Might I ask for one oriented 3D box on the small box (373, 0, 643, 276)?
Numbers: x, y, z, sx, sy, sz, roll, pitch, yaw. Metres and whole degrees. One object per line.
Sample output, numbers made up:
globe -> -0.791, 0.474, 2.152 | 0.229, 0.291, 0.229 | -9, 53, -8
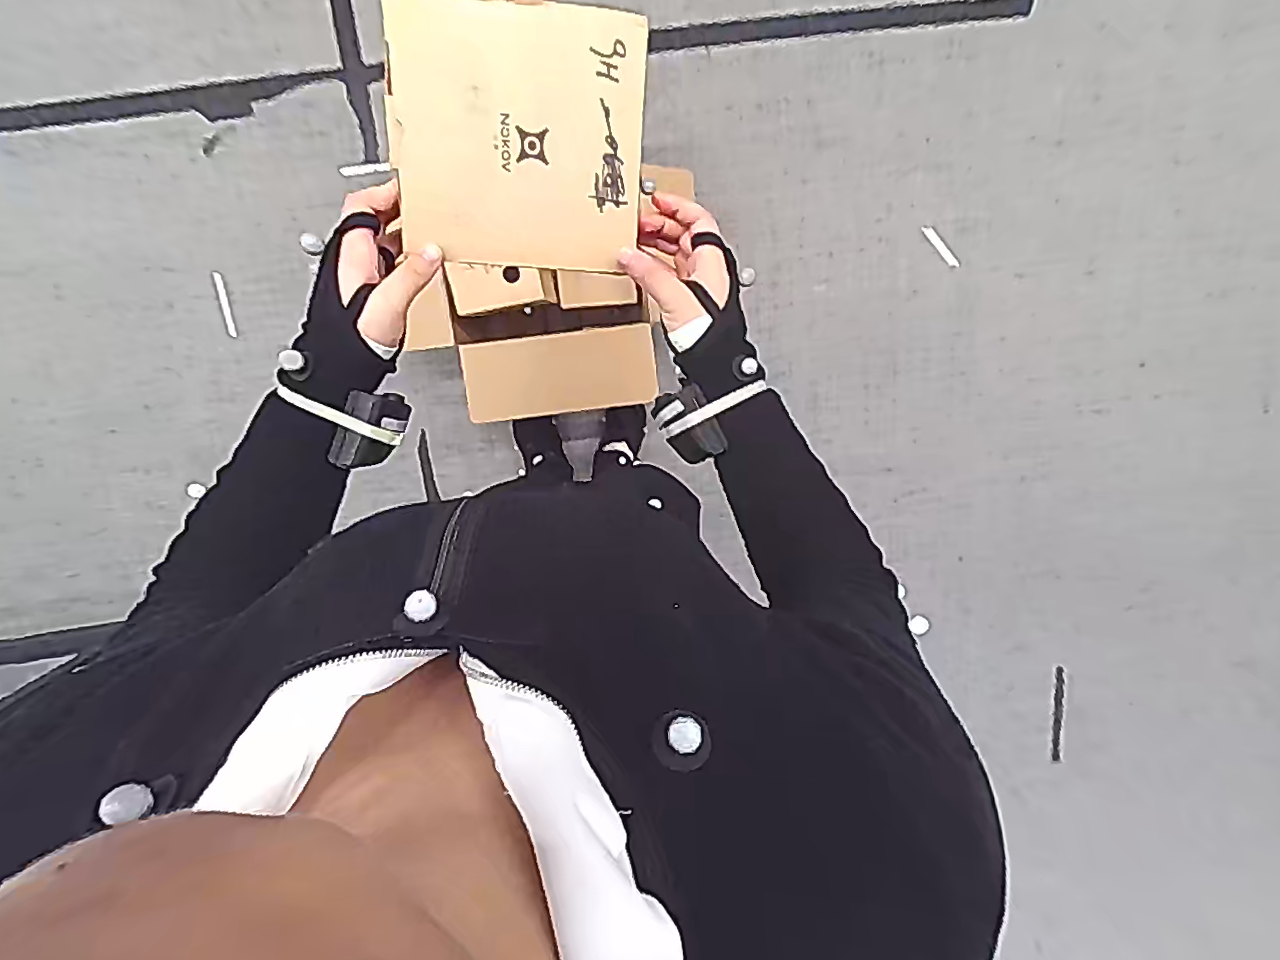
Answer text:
small box -> -0.096, -0.264, 0.453 | 0.179, 0.176, 0.168 | 2, 111, -6
